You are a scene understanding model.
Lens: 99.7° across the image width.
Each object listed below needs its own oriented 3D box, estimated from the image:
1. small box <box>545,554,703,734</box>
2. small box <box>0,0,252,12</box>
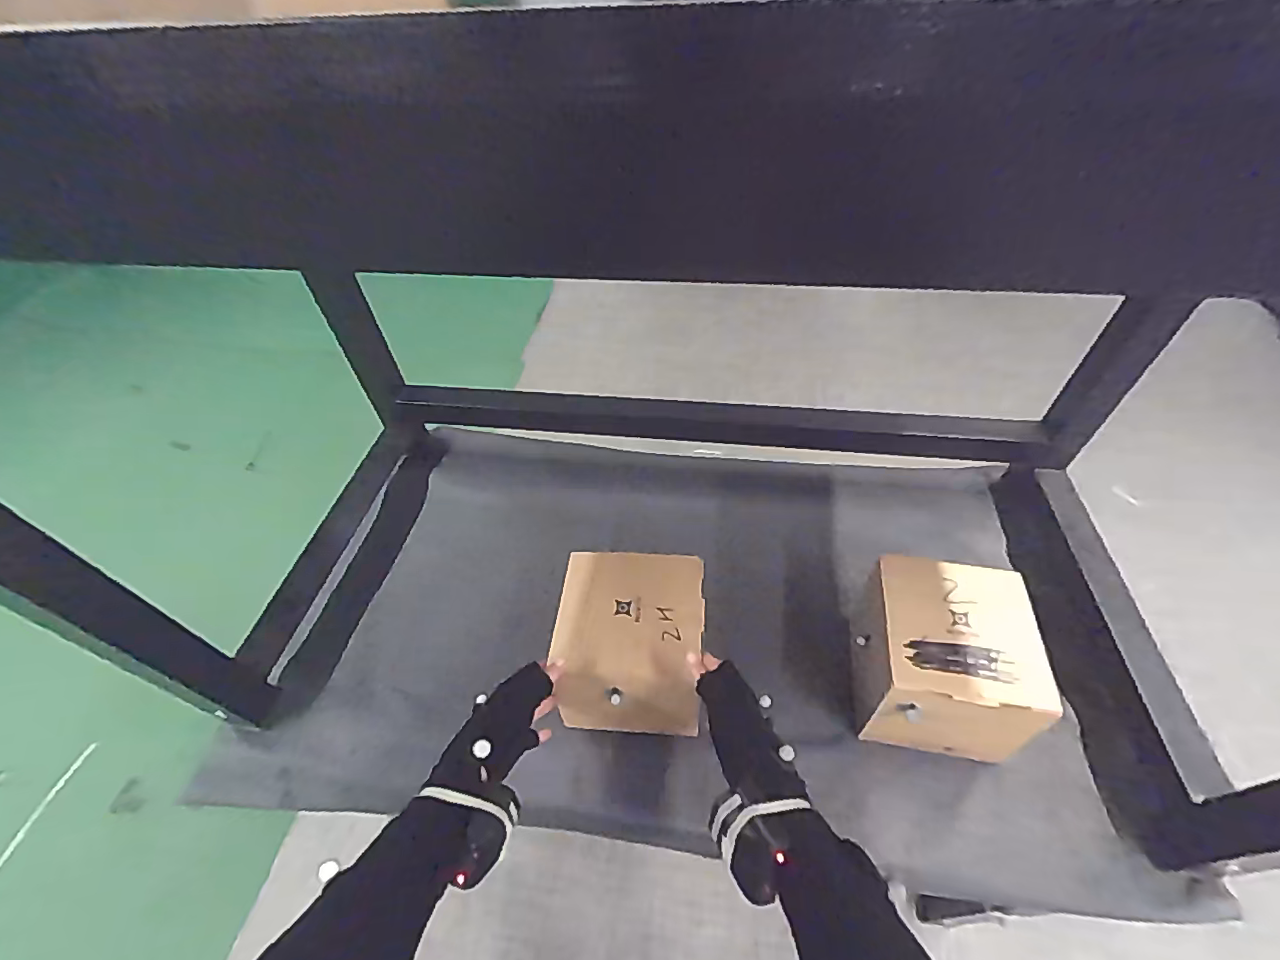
[{"bbox_3d":[-0.010,0.215,0.707,0.179,0.176,0.168,2,46,5],"label":"small box"},{"bbox_3d":[-0.210,-0.287,0.194,0.168,0.176,0.179,3,48,7],"label":"small box"}]
